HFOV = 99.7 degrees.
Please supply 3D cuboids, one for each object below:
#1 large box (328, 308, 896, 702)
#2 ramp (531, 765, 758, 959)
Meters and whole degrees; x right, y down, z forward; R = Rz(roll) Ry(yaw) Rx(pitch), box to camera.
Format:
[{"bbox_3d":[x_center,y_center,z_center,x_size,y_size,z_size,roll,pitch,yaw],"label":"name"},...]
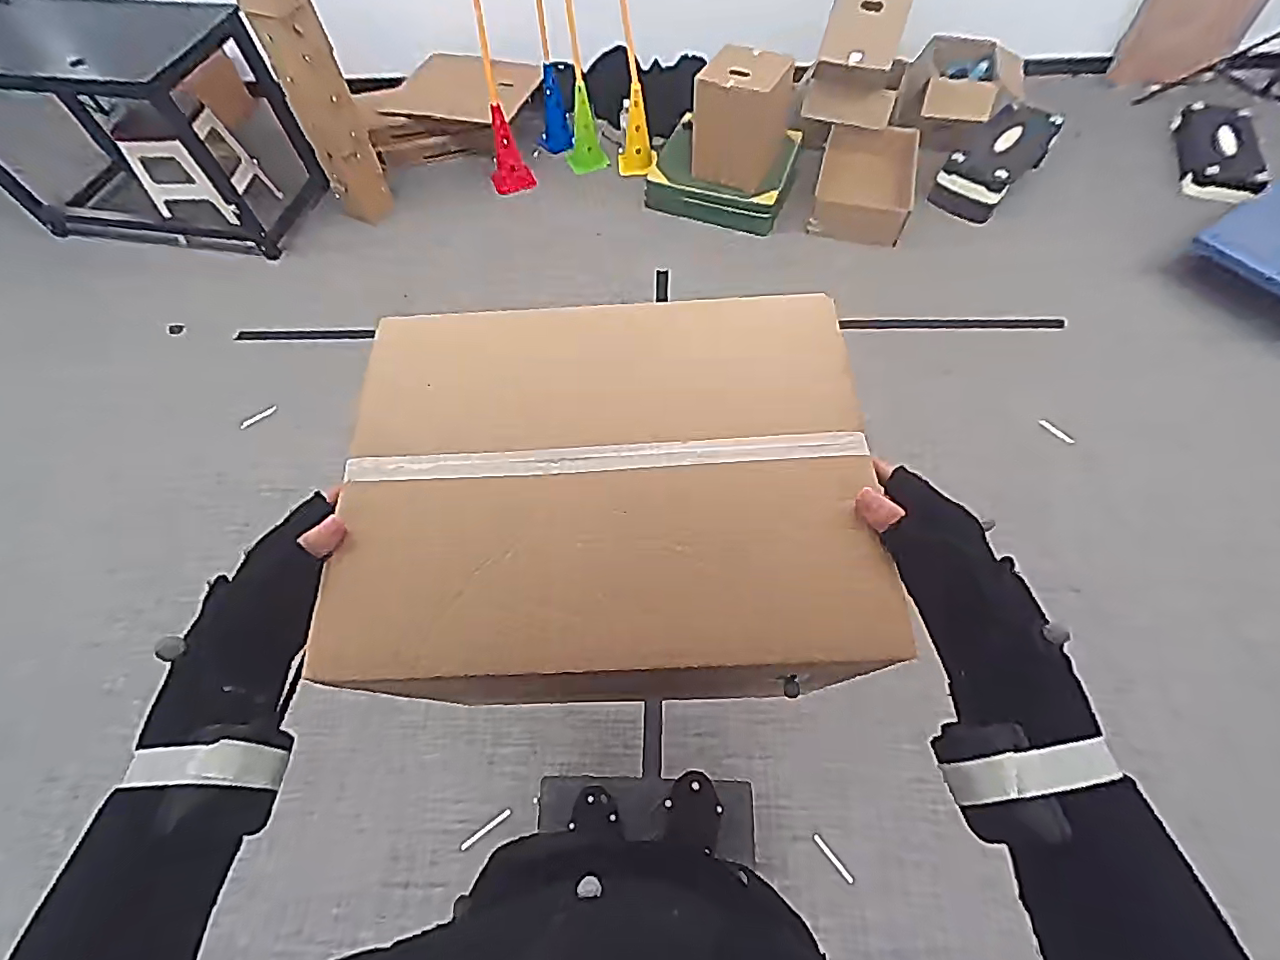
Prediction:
[{"bbox_3d":[-0.019,0.055,0.568,0.408,0.320,0.320,-3,64,2],"label":"large box"},{"bbox_3d":[0.008,1.147,1.110,0.509,0.206,0.991,-1,61,0],"label":"ramp"}]
